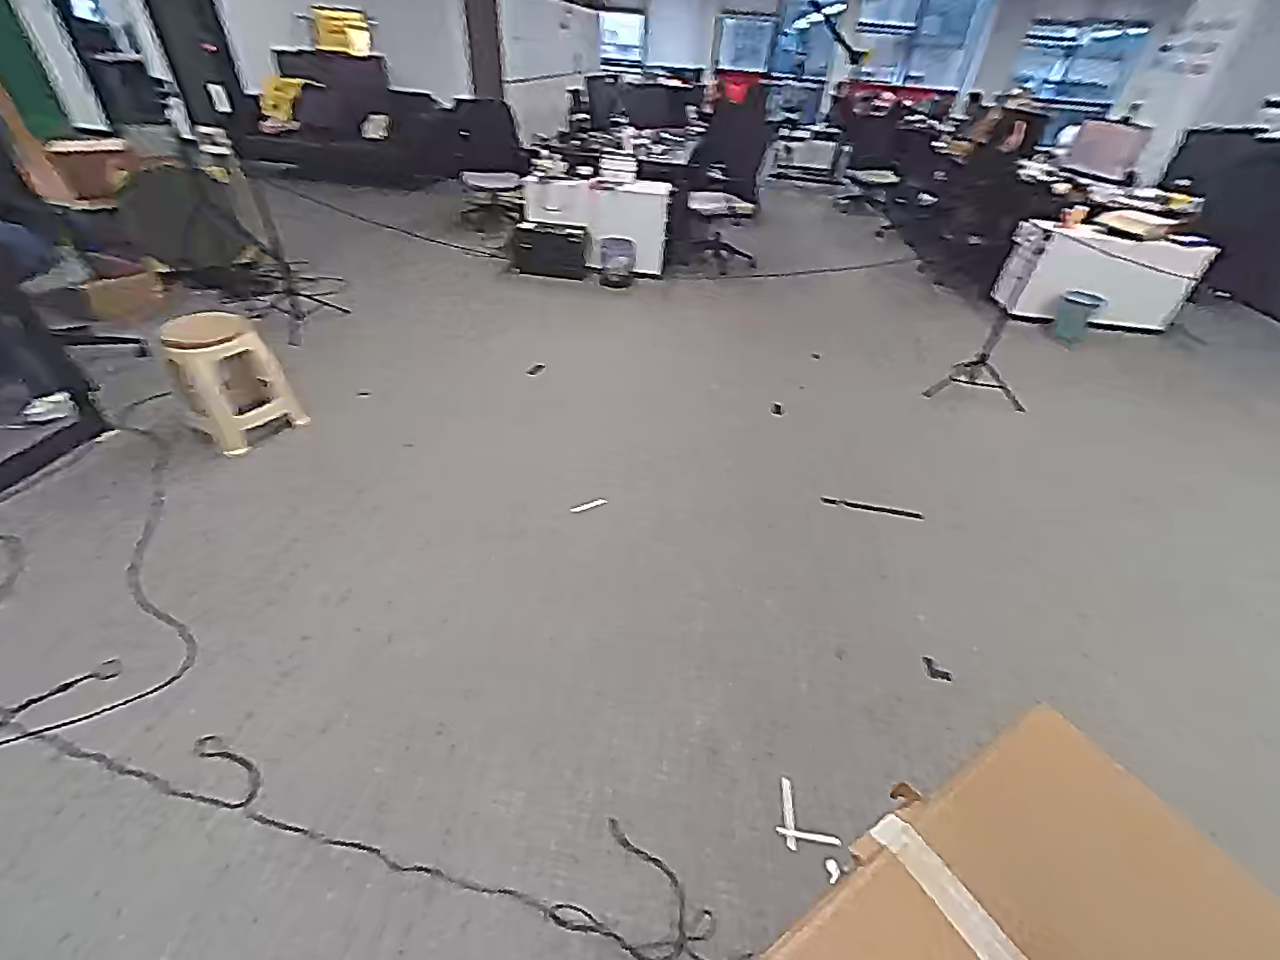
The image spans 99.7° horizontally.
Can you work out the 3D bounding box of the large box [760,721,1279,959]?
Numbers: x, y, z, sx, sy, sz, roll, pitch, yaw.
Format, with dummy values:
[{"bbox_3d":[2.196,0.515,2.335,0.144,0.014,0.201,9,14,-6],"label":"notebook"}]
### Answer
[{"bbox_3d":[0.267,0.450,0.321,0.320,0.320,0.408,-26,49,-21],"label":"large box"}]
